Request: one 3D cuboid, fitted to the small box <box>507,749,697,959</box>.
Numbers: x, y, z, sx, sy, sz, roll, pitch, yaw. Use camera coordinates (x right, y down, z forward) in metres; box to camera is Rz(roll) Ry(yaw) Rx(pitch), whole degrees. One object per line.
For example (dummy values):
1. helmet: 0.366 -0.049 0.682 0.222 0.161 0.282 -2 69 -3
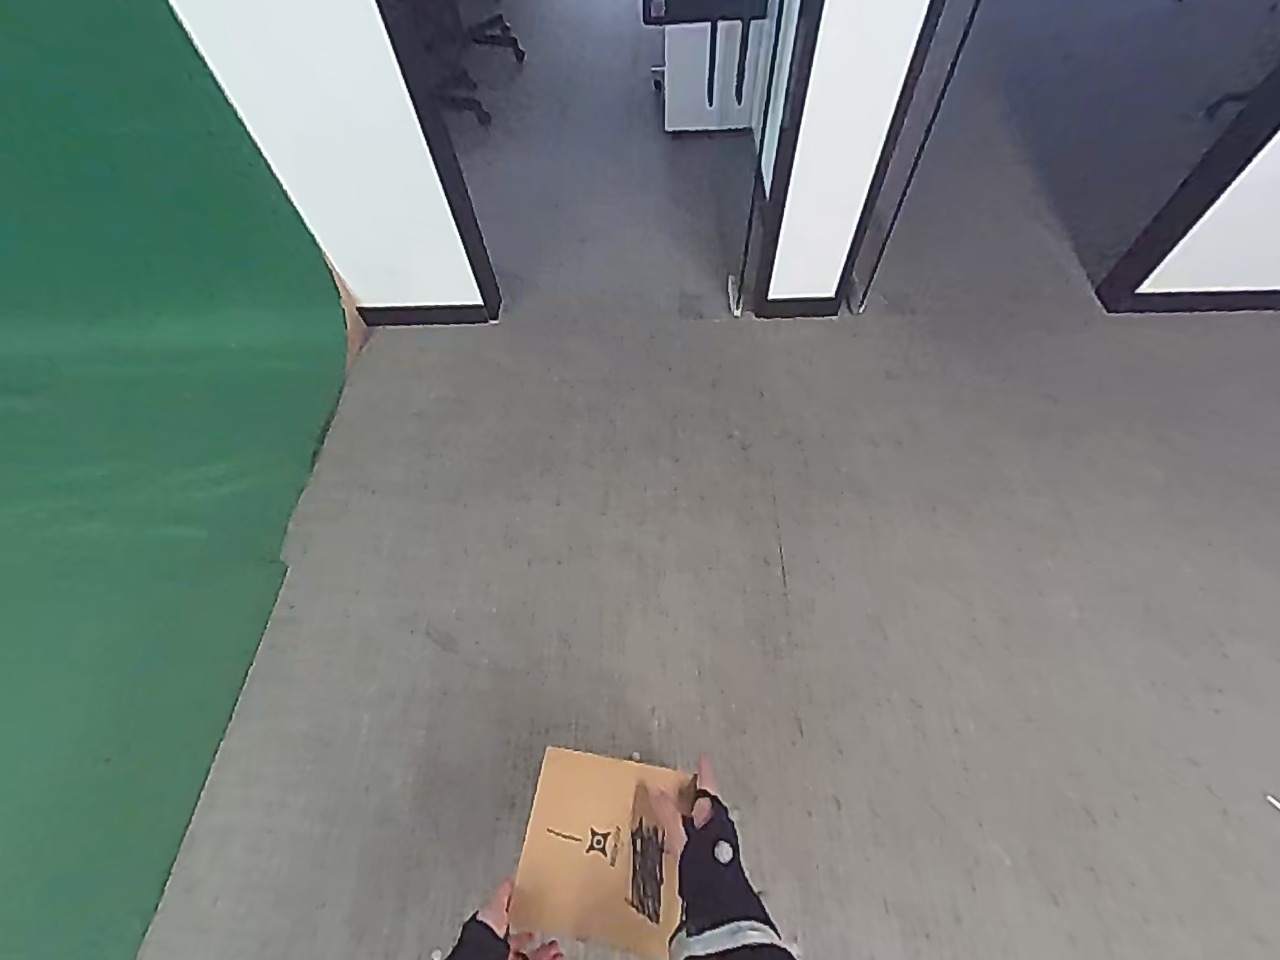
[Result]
1. small box: -0.030 0.431 0.639 0.179 0.176 0.168 6 58 9
